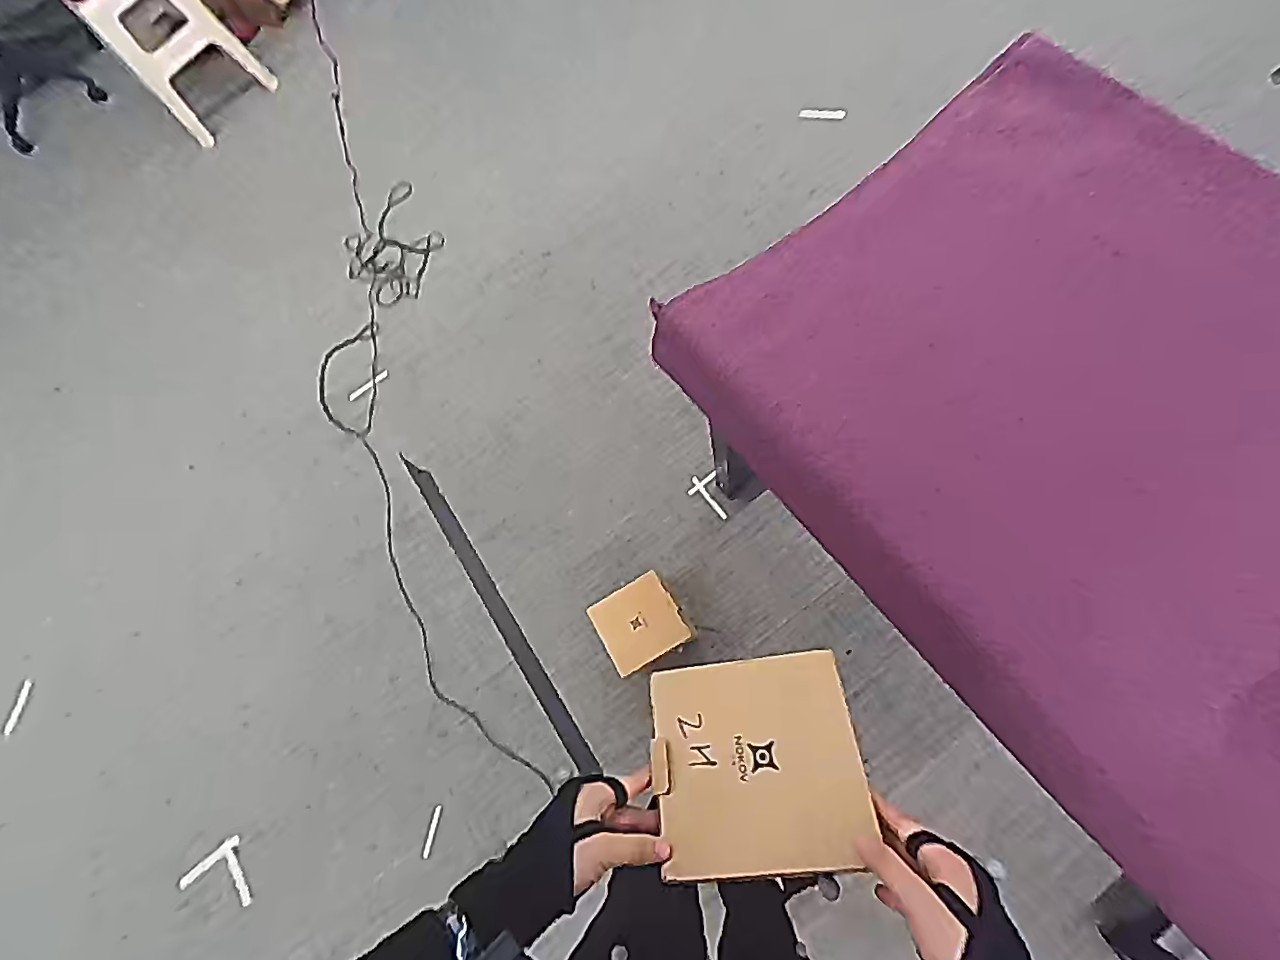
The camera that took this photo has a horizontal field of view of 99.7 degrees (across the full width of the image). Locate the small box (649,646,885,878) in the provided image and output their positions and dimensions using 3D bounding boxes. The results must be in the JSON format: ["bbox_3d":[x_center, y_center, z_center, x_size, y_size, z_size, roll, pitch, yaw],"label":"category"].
[{"bbox_3d":[0.117,0.281,0.530,0.179,0.176,0.168,-13,51,10],"label":"small box"}]

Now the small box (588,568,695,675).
[{"bbox_3d":[0.010,0.325,1.232,0.179,0.176,0.168,-32,71,-1],"label":"small box"}]
